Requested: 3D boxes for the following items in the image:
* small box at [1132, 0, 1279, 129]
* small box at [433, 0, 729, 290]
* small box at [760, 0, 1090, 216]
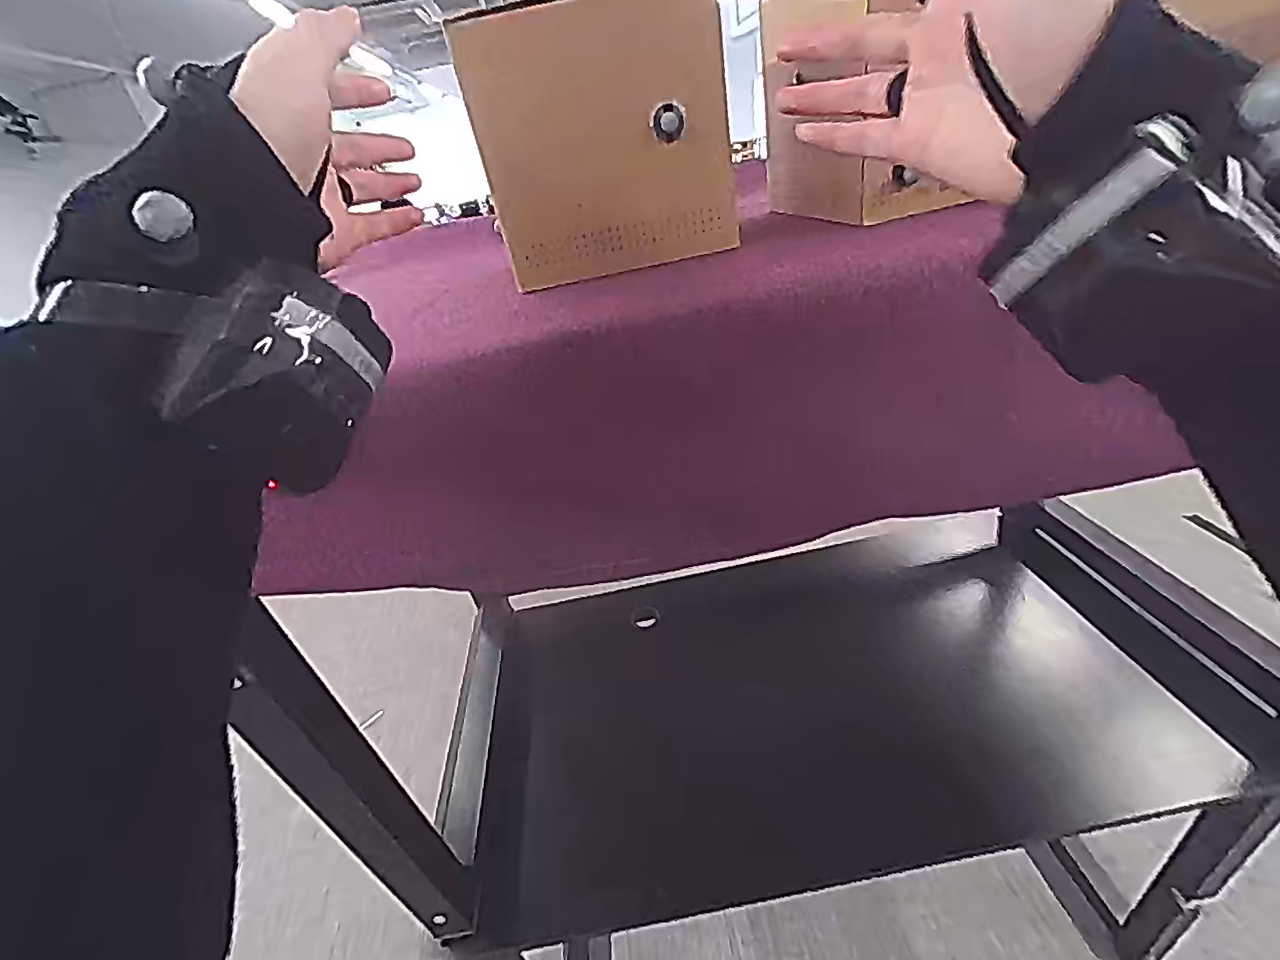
[{"bbox_3d":[0.533,-0.376,0.404,0.168,0.176,0.179,-11,31,4],"label":"small box"},{"bbox_3d":[-0.032,-0.266,0.428,0.179,0.176,0.168,-12,31,0],"label":"small box"},{"bbox_3d":[0.207,-0.313,0.419,0.168,0.176,0.179,-14,31,-4],"label":"small box"}]
